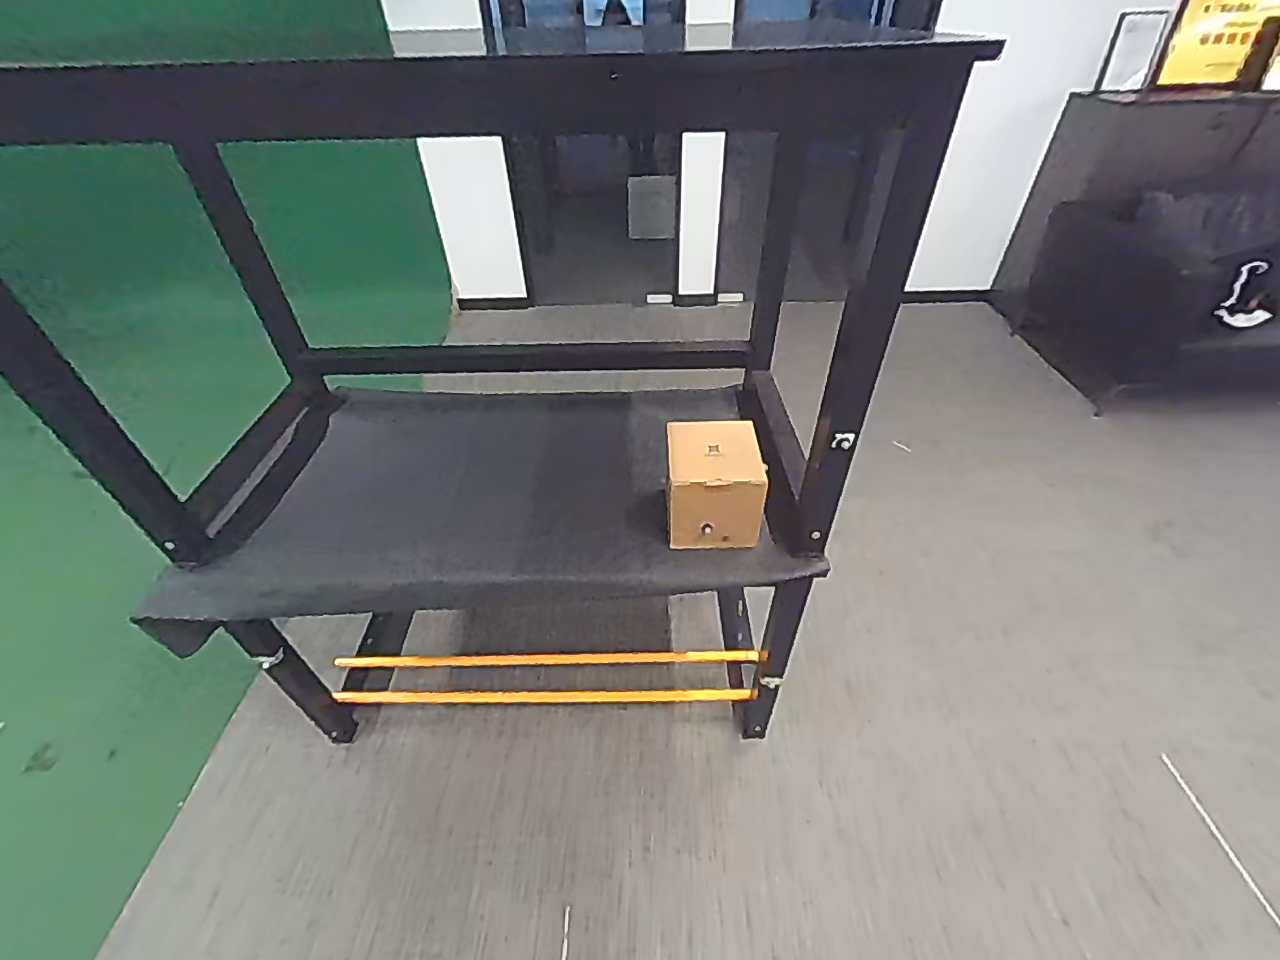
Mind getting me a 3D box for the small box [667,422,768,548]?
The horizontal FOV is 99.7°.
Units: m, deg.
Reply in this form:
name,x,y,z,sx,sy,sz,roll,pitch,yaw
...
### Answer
name,x,y,z,sx,sy,sz,roll,pitch,yaw
small box,0.136,0.008,1.019,0.168,0.176,0.179,-2,41,1
